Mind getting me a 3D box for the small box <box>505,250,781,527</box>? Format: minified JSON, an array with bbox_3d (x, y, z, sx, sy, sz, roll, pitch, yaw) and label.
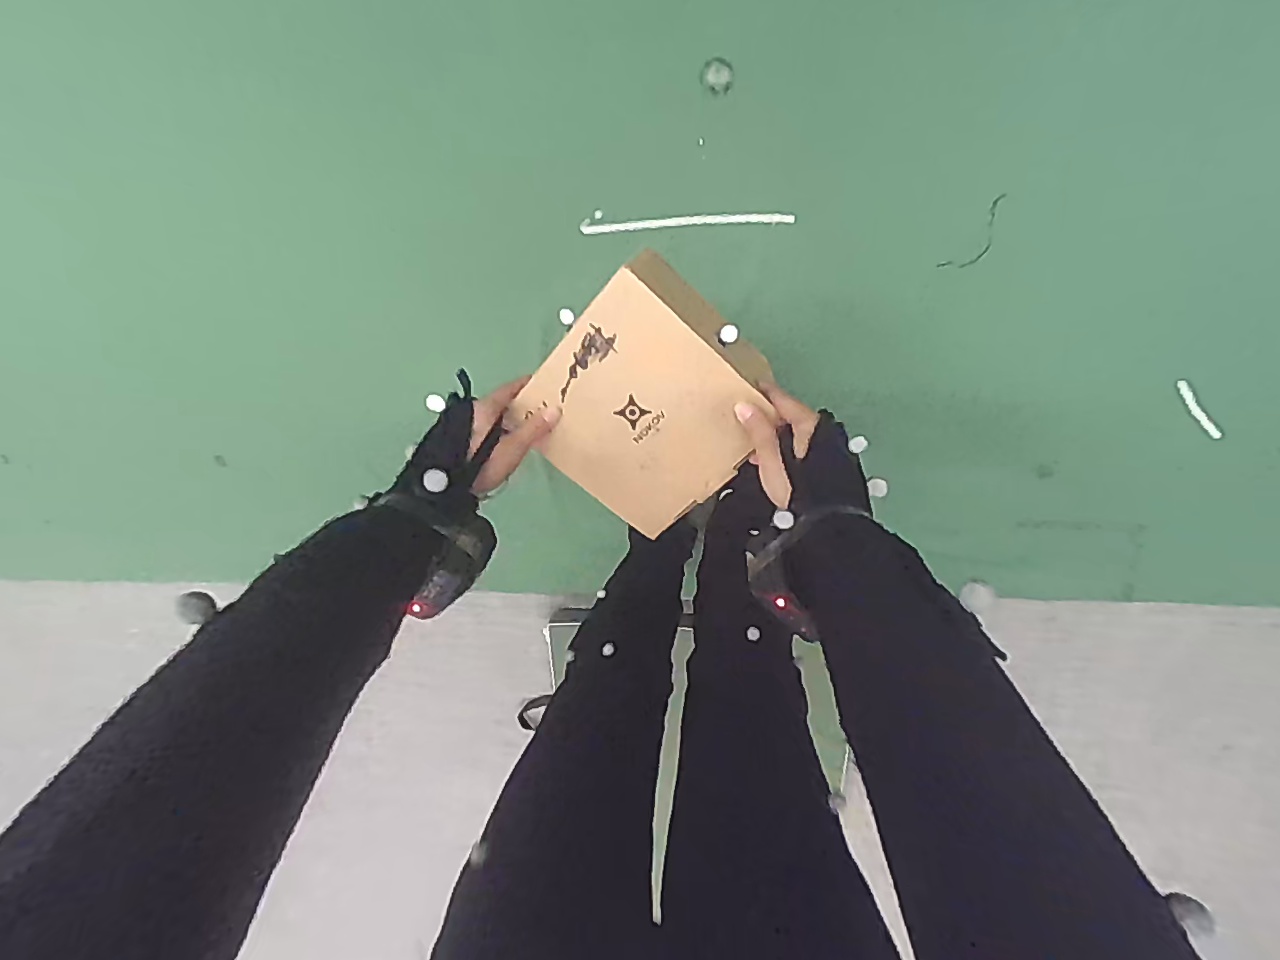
[{"bbox_3d":[0.009,-0.096,0.520,0.179,0.176,0.168,40,115,-15],"label":"small box"}]
